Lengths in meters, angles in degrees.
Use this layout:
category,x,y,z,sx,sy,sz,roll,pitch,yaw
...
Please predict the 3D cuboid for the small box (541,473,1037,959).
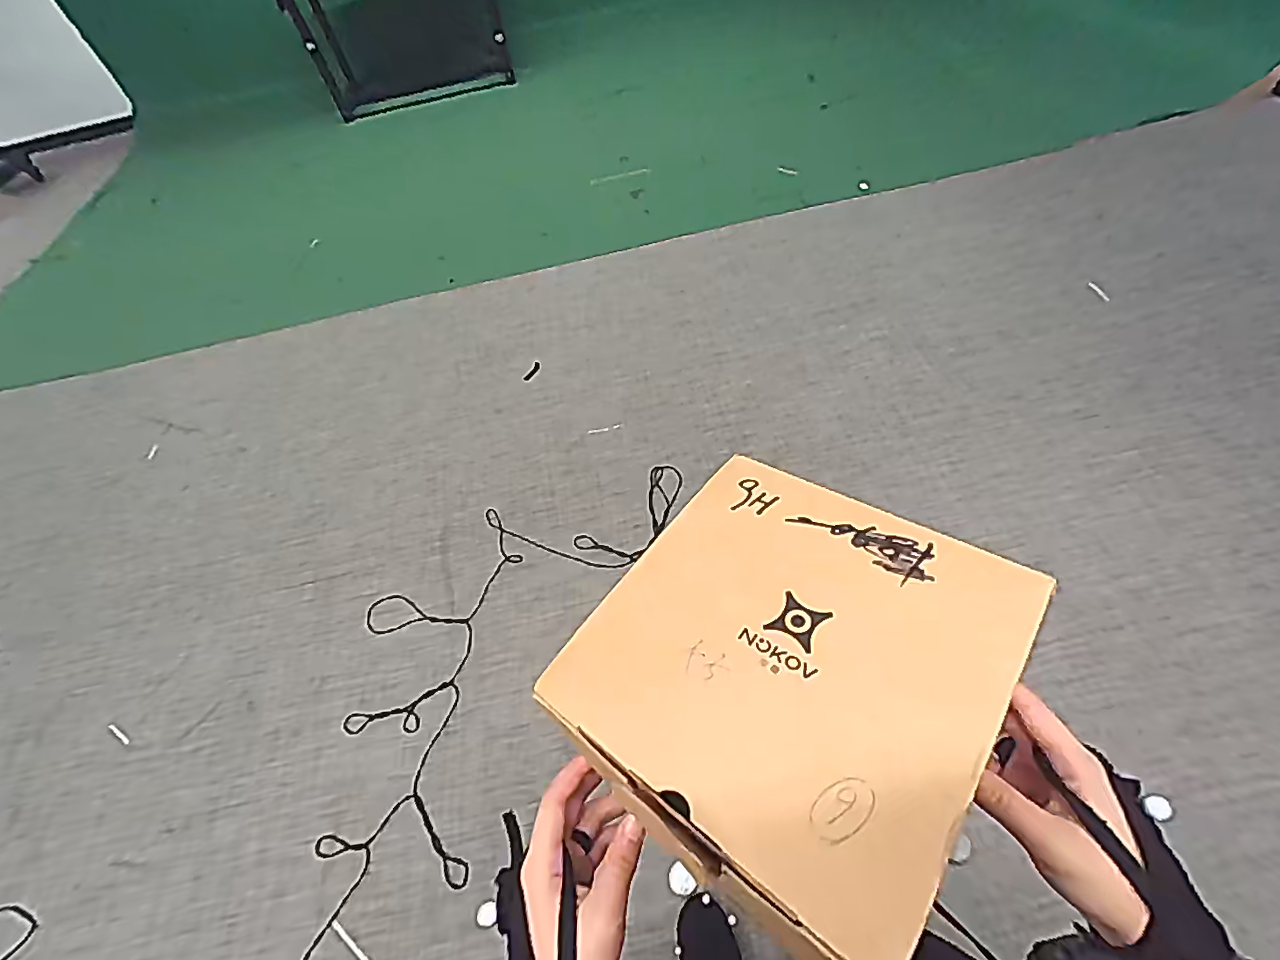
category,x,y,z,sx,sy,sz,roll,pitch,yaw
small box,0.081,0.133,0.306,0.168,0.176,0.179,26,58,32
